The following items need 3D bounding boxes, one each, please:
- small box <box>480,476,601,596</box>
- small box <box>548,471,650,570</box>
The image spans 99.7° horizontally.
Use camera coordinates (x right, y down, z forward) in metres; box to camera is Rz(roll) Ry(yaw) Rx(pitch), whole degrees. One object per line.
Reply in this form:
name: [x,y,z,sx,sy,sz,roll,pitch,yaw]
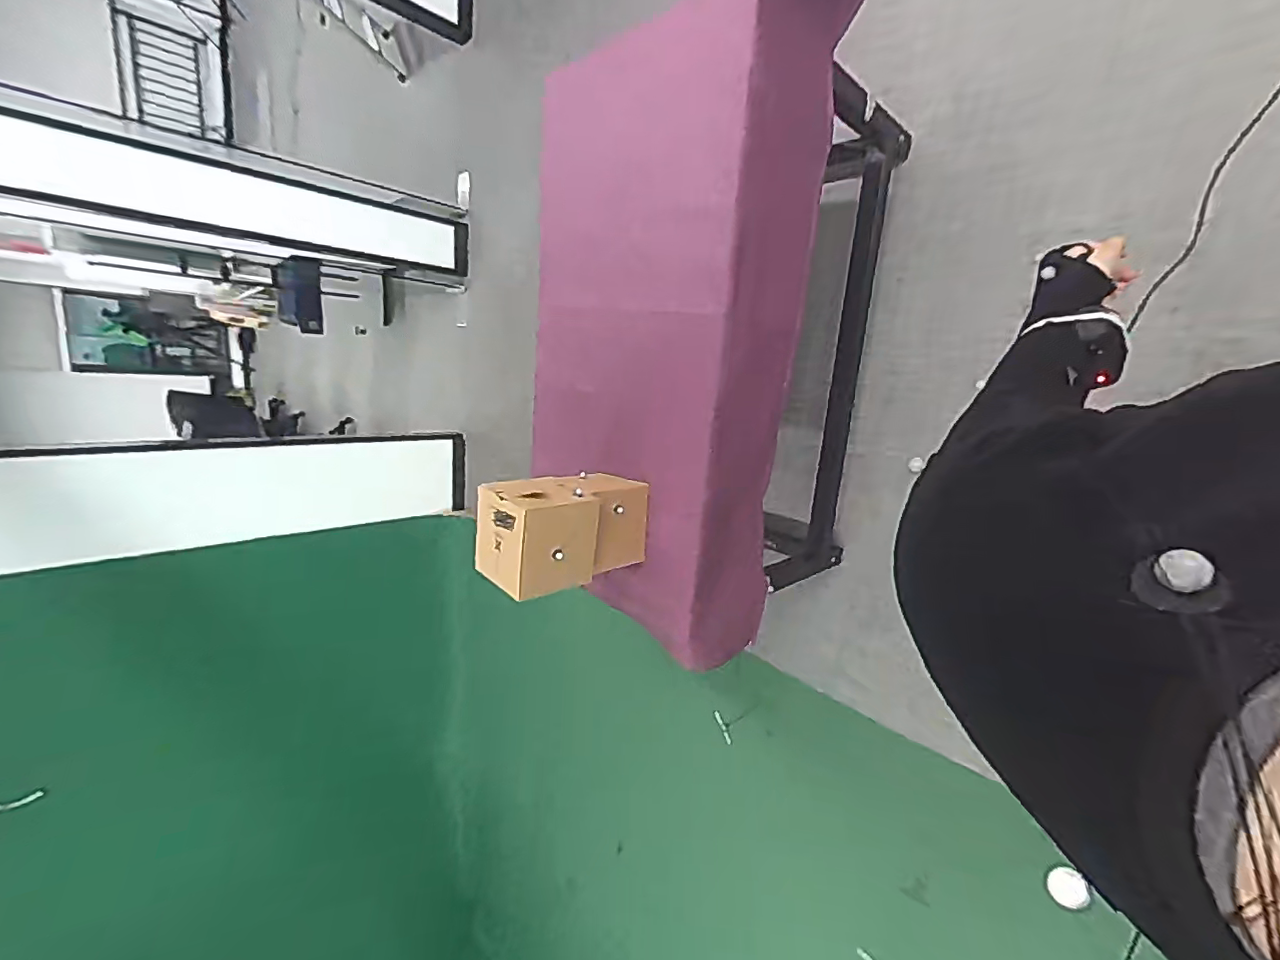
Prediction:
small box: [-0.192,0.097,1.055,0.168,0.176,0.179,21,111,43]
small box: [-0.094,0.080,1.189,0.168,0.176,0.179,14,106,44]
